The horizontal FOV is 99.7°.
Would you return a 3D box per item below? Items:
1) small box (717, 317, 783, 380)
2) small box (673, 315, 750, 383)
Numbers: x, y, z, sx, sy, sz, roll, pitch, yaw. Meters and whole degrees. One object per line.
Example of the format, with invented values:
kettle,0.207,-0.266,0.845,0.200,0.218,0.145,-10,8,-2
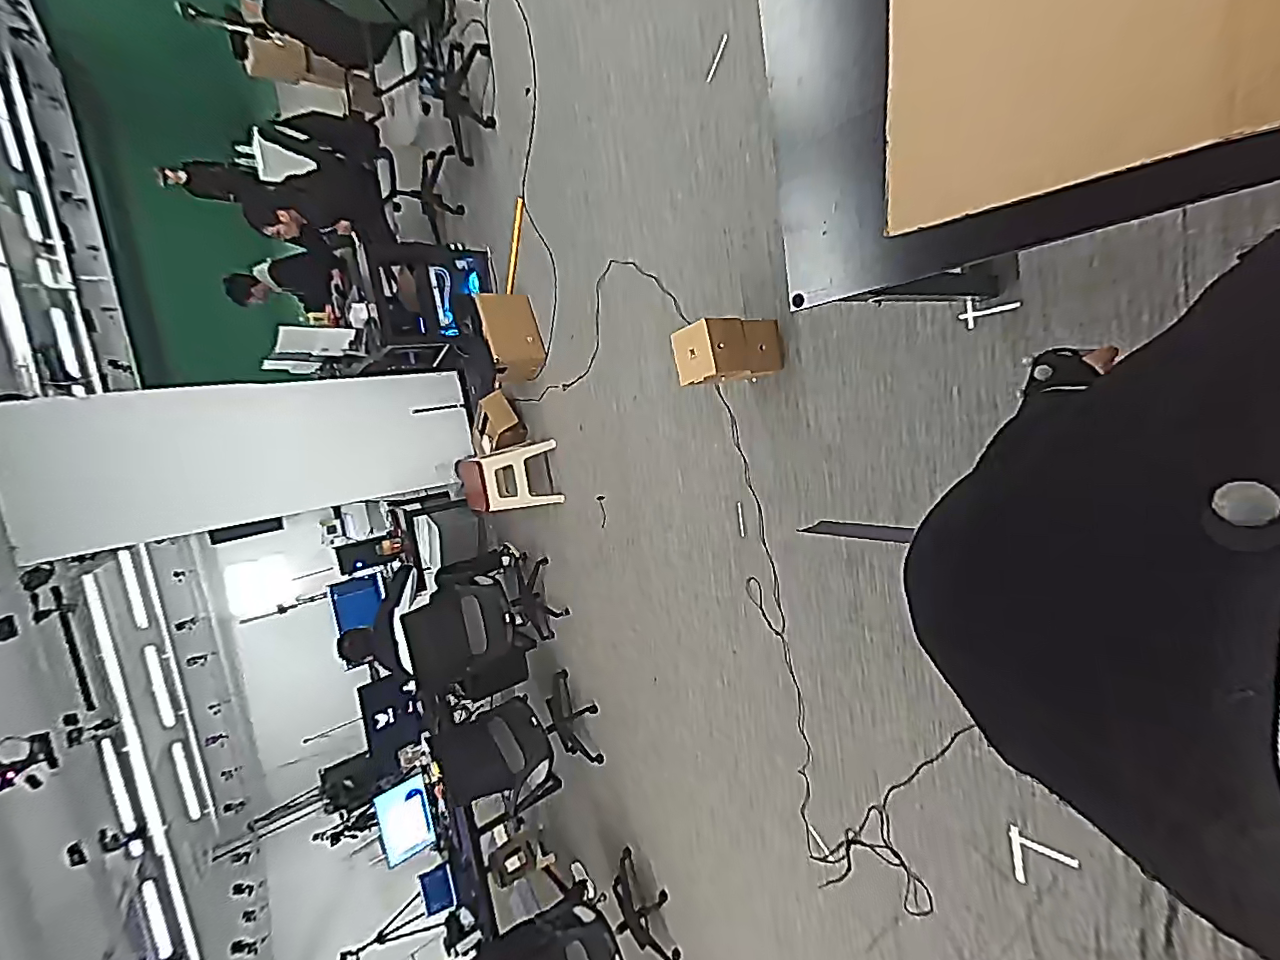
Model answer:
small box,0.363,-0.448,1.841,0.168,0.176,0.179,-4,98,54
small box,0.234,-0.423,1.746,0.168,0.176,0.179,-10,92,53
